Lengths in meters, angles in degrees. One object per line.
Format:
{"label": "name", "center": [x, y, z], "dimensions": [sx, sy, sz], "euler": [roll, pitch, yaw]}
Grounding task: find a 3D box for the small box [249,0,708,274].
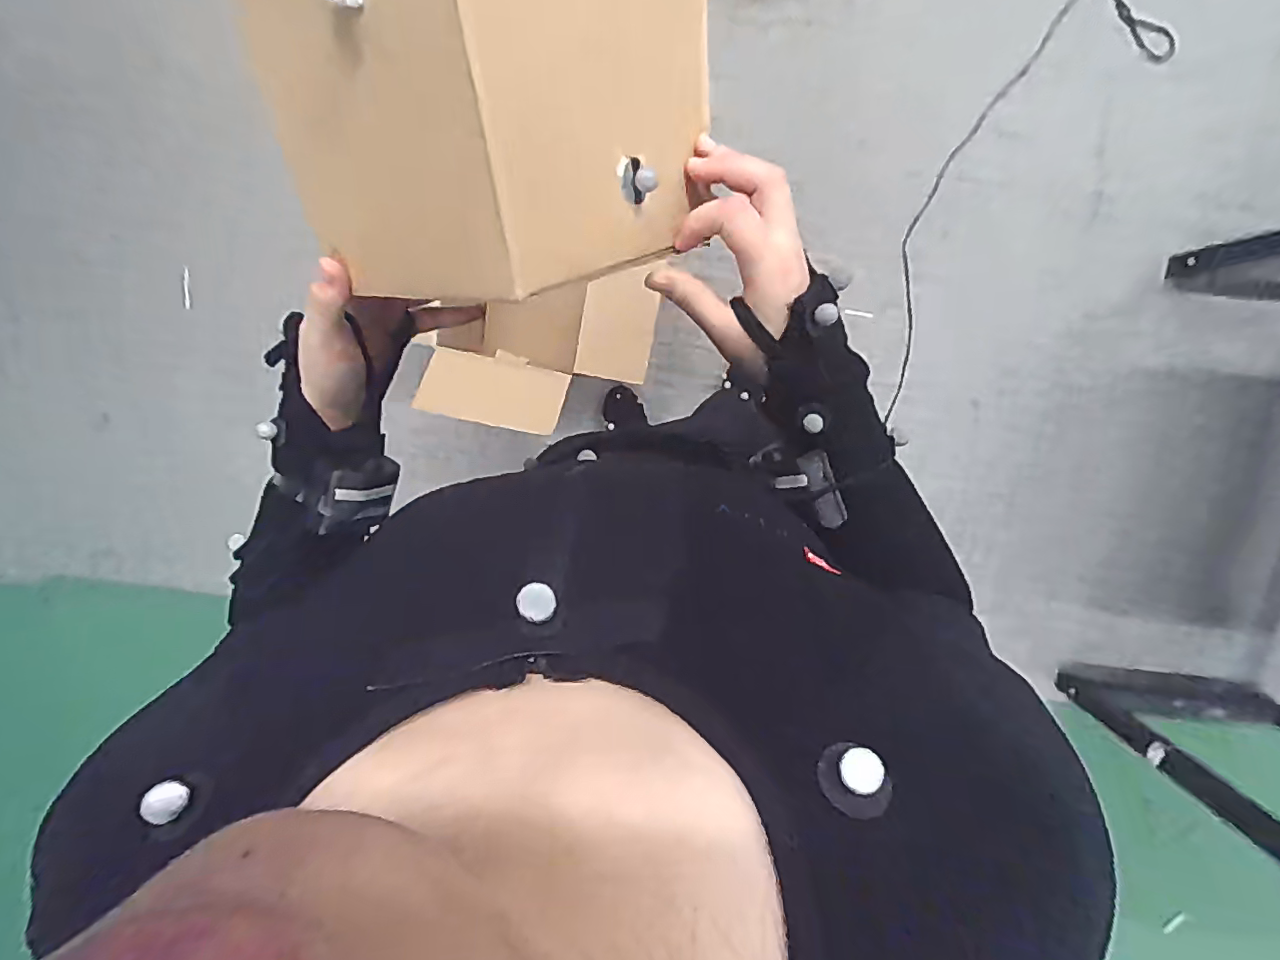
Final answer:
{"label": "small box", "center": [-0.075, -0.219, 0.299], "dimensions": [0.168, 0.179, 0.176], "euler": [15, 125, 34]}
